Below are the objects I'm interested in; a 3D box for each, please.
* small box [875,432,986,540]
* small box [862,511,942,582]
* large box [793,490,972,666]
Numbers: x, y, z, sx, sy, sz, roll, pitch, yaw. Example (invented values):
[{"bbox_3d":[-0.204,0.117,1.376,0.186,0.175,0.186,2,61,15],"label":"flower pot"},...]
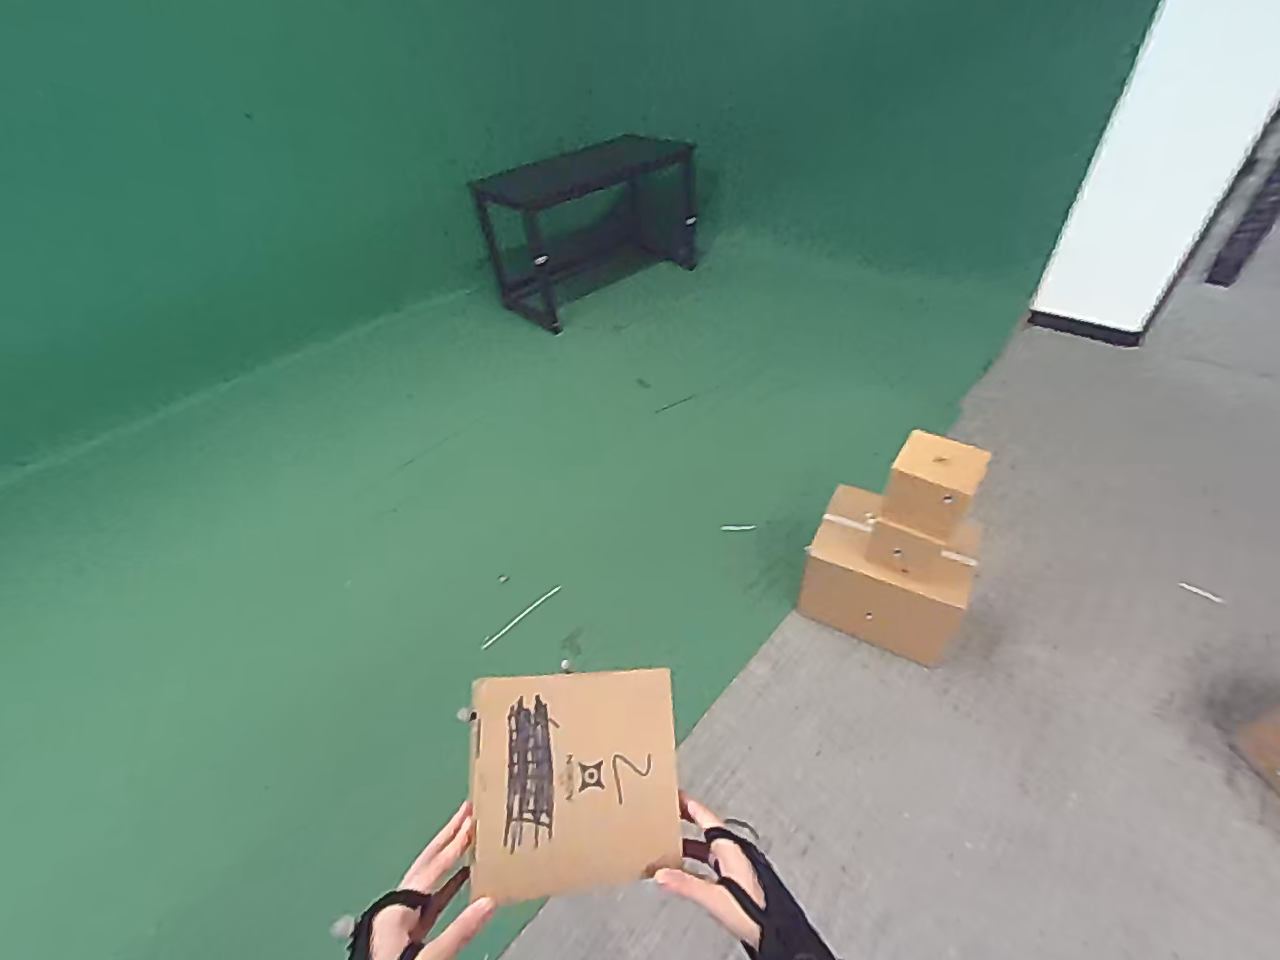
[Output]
[{"bbox_3d":[0.694,0.015,1.308,0.179,0.176,0.168,25,52,28],"label":"small box"},{"bbox_3d":[0.699,0.135,1.418,0.168,0.176,0.179,24,51,27],"label":"small box"},{"bbox_3d":[0.711,0.286,1.616,0.408,0.320,0.320,18,47,25],"label":"large box"}]
